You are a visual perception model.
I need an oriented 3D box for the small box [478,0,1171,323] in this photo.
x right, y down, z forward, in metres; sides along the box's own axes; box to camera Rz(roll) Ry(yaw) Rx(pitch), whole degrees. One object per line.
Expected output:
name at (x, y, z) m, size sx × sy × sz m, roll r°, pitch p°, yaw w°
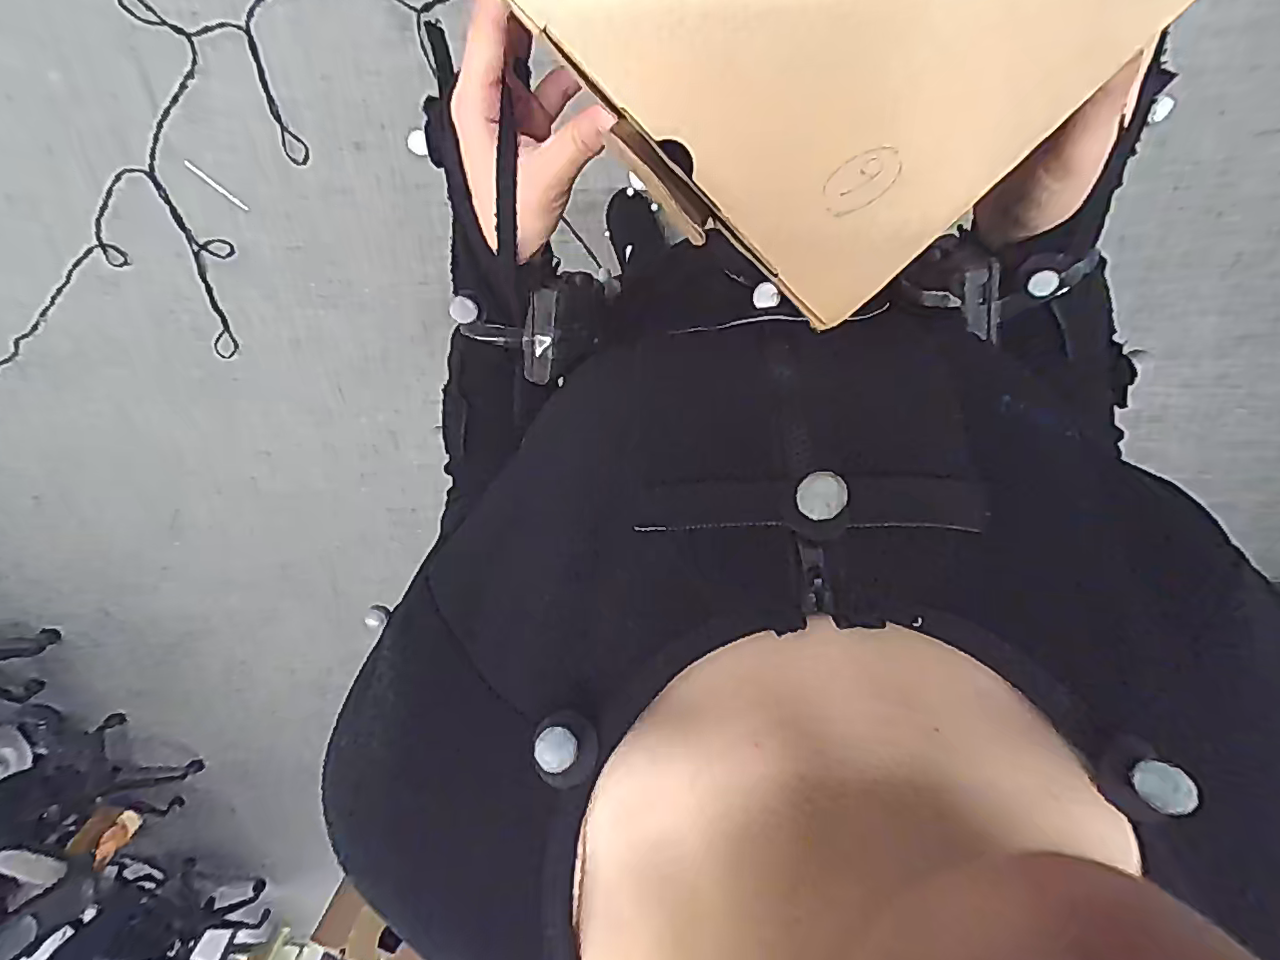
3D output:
small box at (0.063, -0.201, 0.214) m, size 0.168 × 0.176 × 0.179 m, roll 37°, pitch 117°, yaw -21°
